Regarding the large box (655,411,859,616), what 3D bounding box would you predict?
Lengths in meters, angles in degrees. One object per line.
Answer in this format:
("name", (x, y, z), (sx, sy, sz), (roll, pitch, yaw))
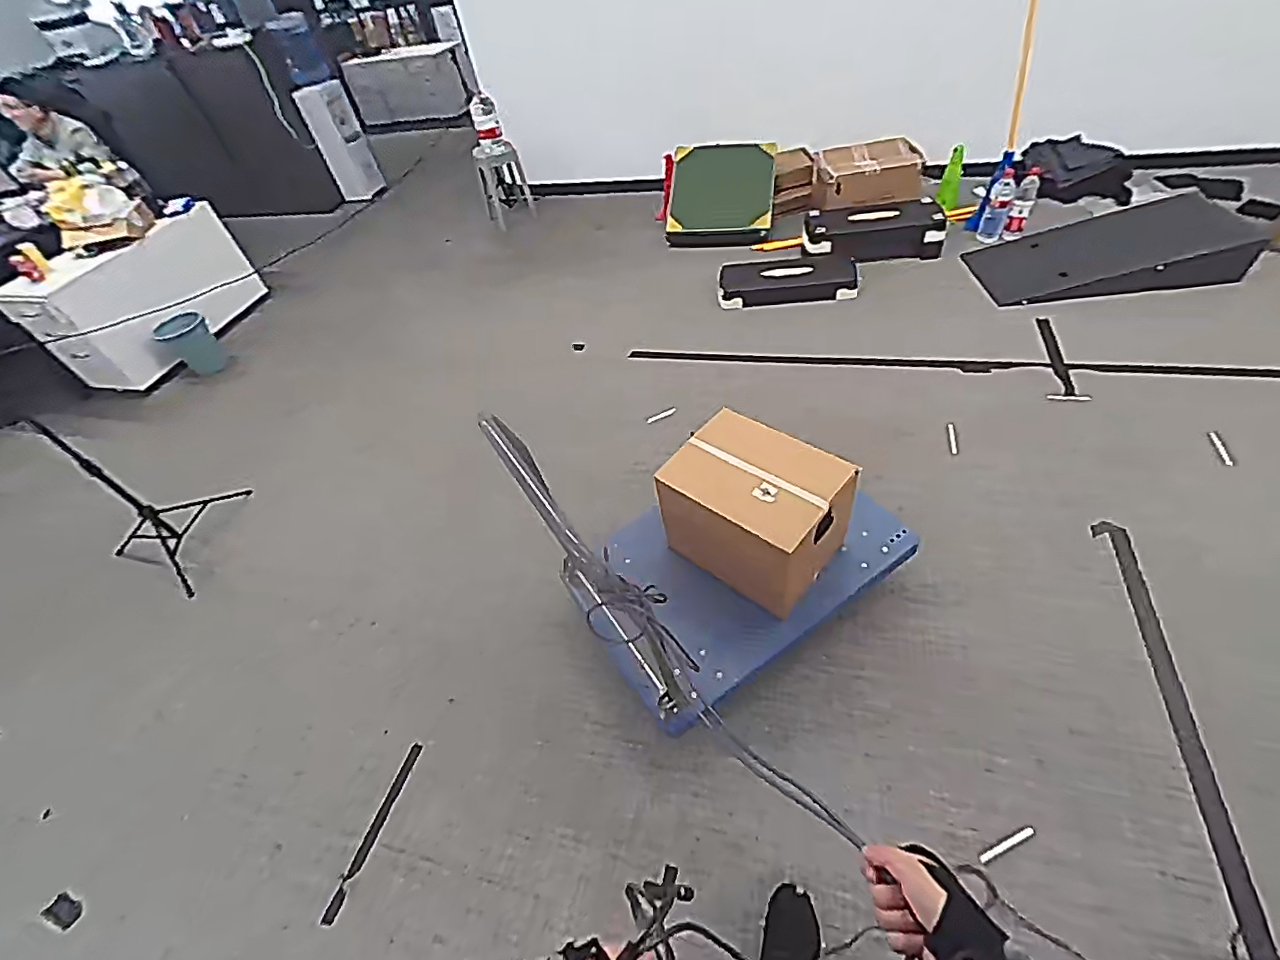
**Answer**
("large box", (0.299, 0.082, 1.441), (0.408, 0.320, 0.320), (30, 61, 31))
